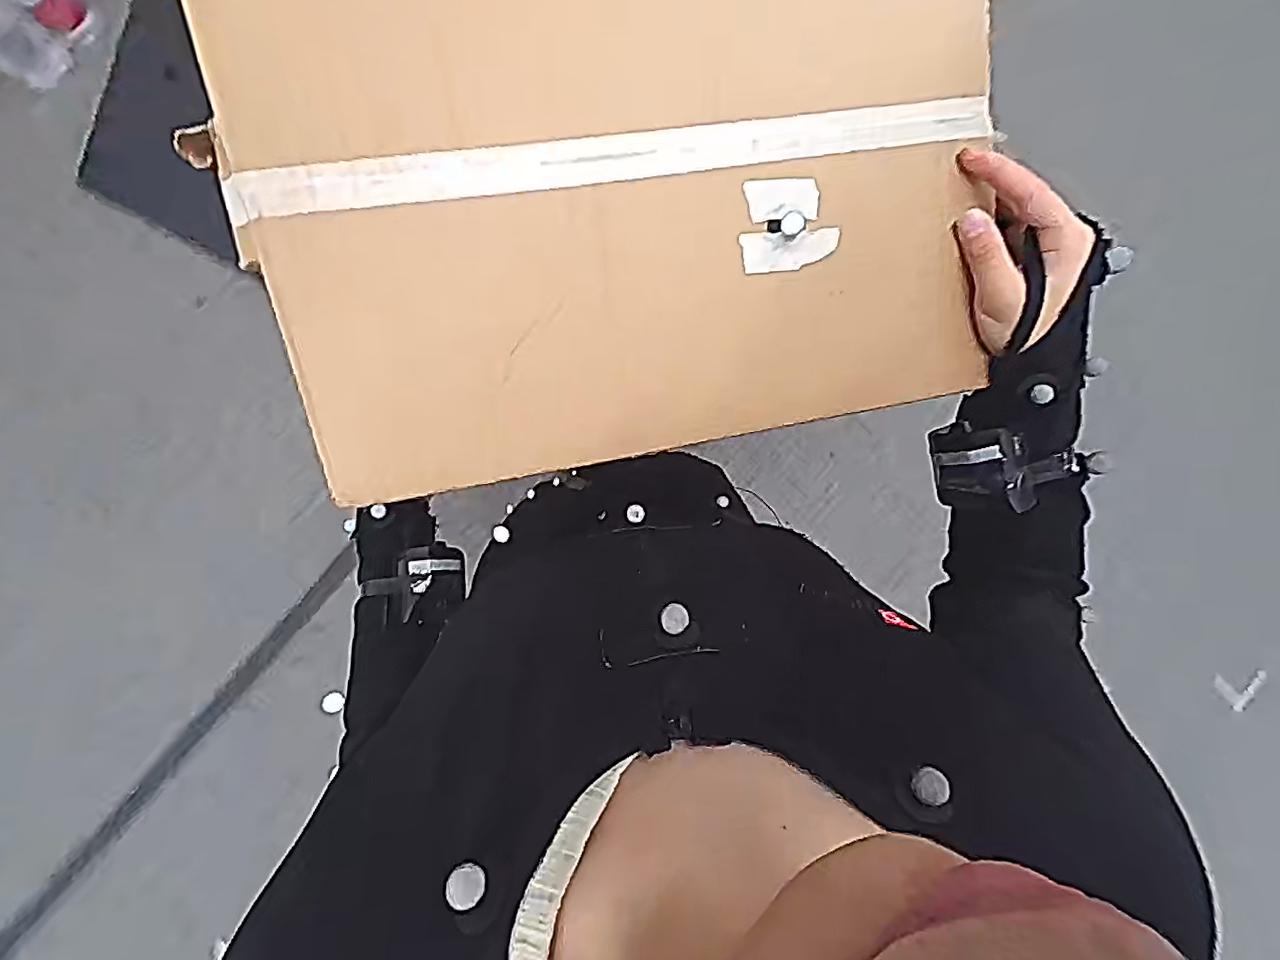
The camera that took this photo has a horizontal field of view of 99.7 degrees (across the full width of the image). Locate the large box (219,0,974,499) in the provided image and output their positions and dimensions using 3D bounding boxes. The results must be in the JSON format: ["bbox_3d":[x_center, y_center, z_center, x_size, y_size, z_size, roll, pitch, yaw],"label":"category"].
[{"bbox_3d":[-0.021,-0.199,0.443,0.408,0.320,0.320,-11,103,-10],"label":"large box"}]
